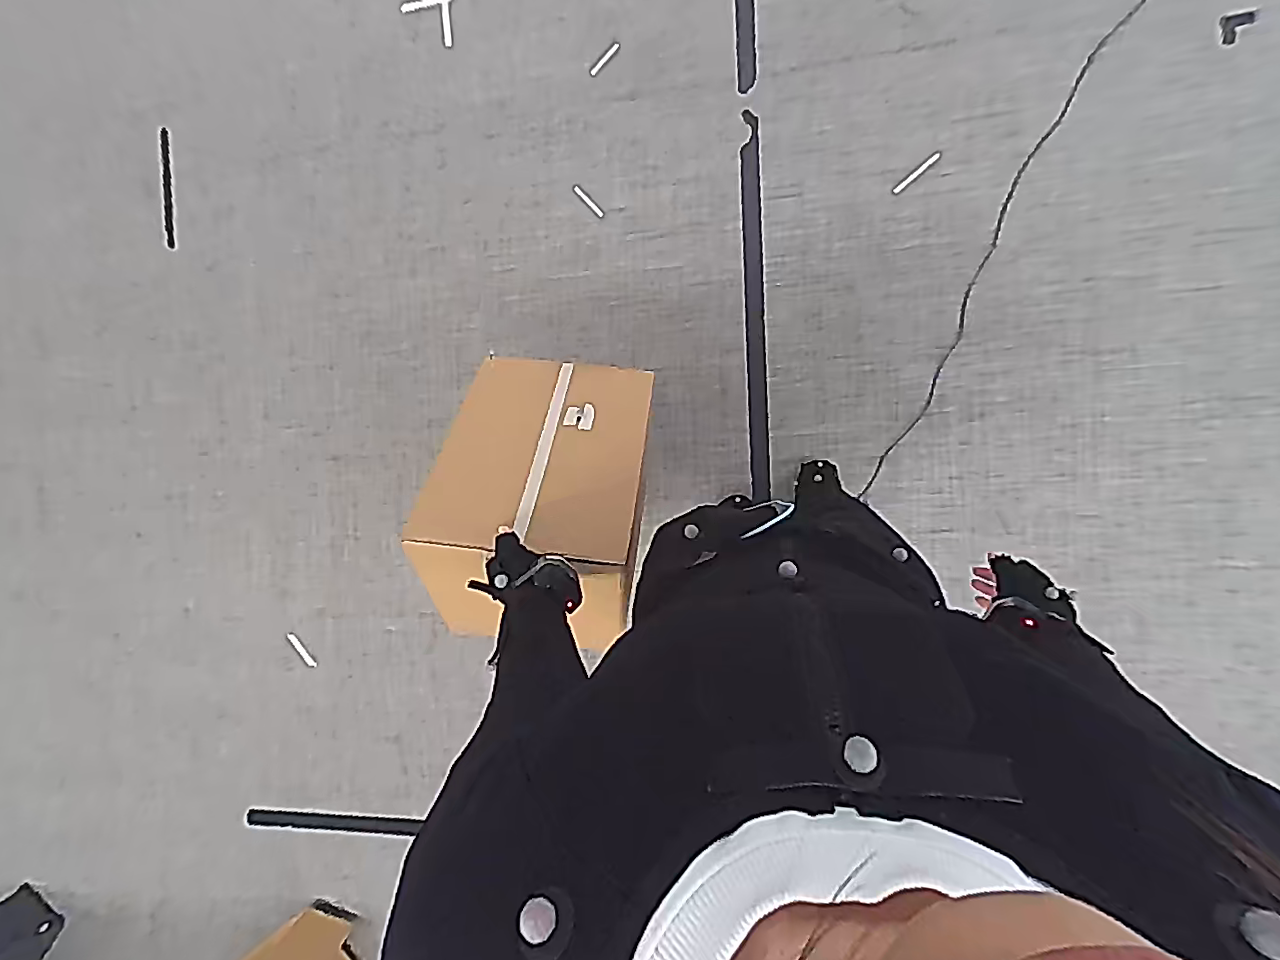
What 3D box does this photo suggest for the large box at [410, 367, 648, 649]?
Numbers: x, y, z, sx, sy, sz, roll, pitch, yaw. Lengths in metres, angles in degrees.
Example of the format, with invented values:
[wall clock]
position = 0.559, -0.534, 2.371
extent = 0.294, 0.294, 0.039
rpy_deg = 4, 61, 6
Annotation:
[large box]
position = -0.159, 0.050, 0.989
extent = 0.320, 0.320, 0.408
rpy_deg = 7, 50, 3
